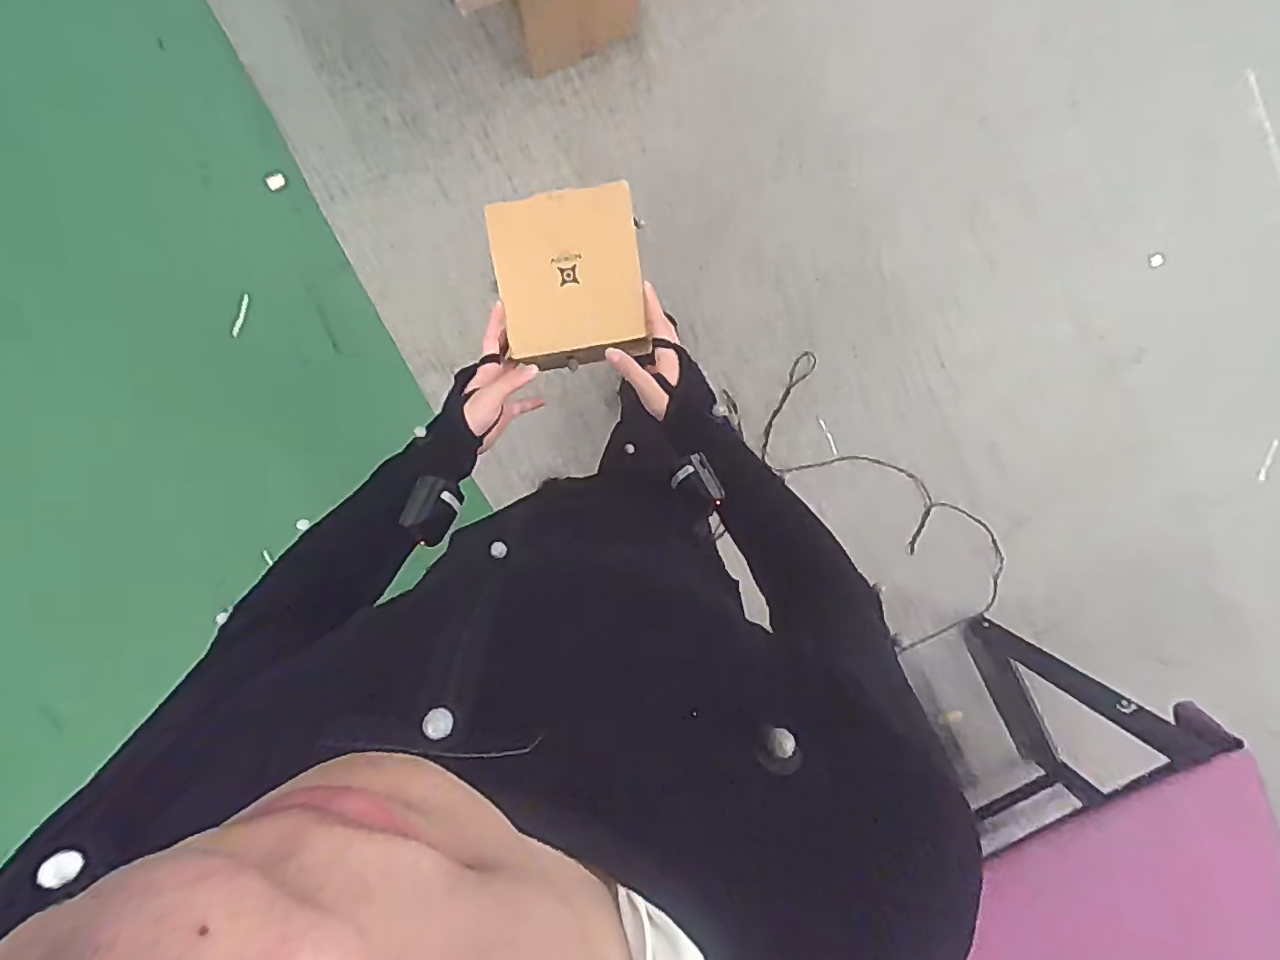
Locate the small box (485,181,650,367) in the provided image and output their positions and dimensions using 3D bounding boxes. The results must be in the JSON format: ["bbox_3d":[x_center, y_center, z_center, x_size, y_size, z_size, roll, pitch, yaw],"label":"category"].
[{"bbox_3d":[-0.080,-0.246,0.695,0.168,0.176,0.179,-9,95,2],"label":"small box"}]
